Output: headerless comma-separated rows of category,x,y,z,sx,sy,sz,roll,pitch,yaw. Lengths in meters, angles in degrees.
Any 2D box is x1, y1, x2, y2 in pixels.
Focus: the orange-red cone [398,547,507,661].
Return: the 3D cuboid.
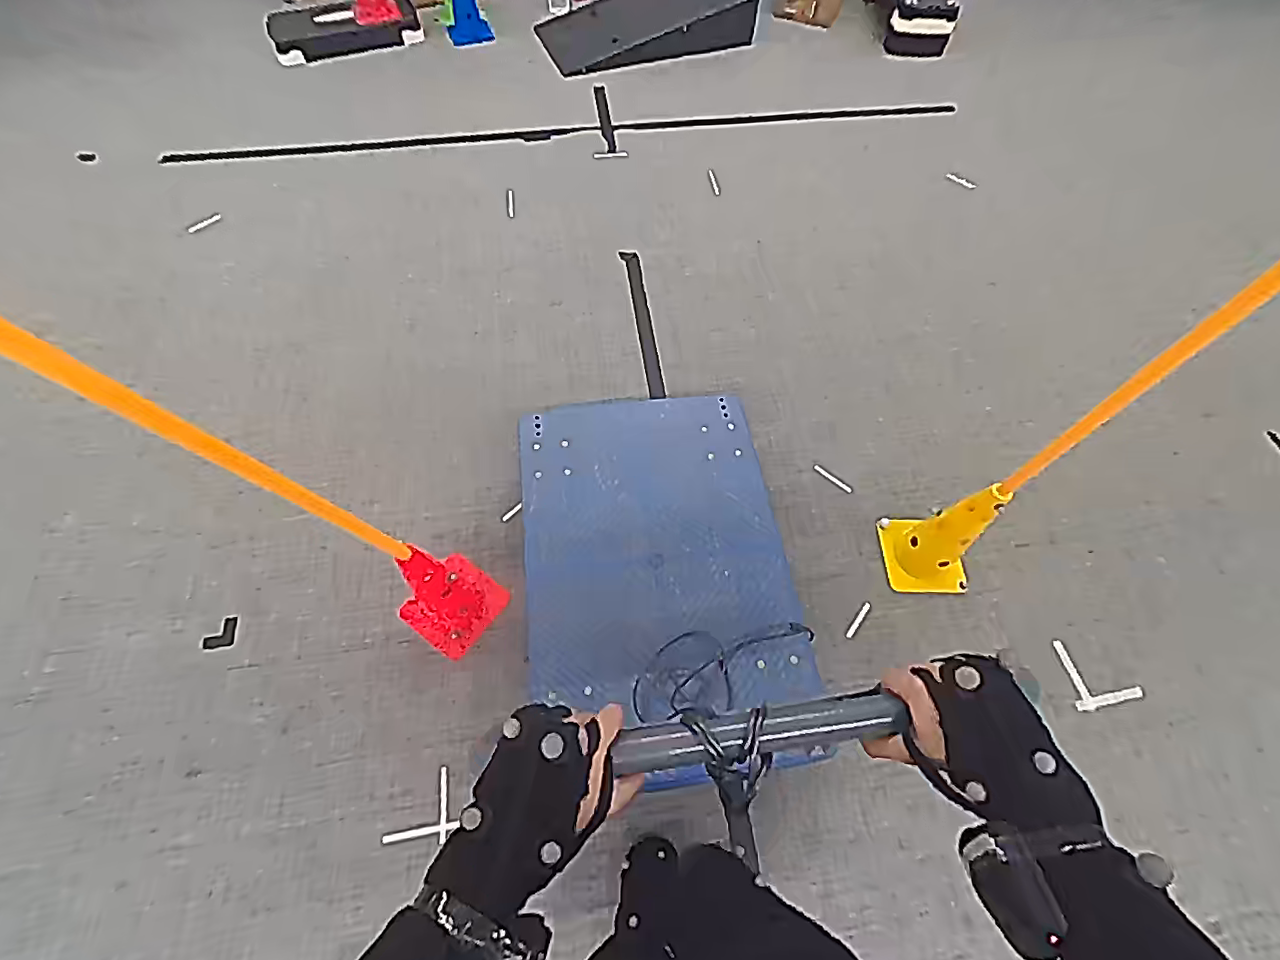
orange-red cone,-0.439,0.224,1.152,0.198,0.360,0.199,34,64,15
